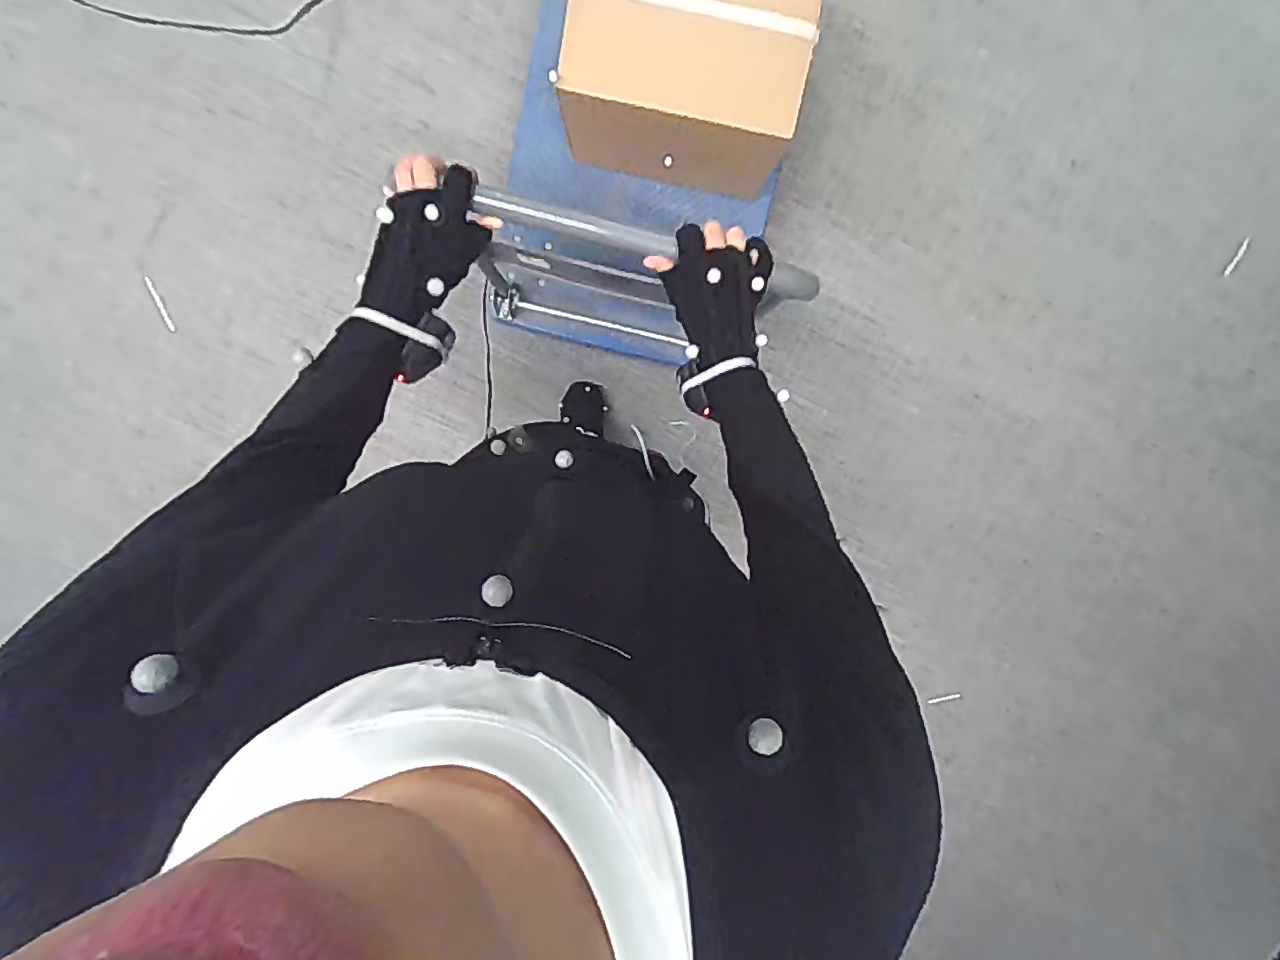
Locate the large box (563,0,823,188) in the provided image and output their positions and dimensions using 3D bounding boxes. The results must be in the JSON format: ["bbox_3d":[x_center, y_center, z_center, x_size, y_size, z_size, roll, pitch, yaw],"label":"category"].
[{"bbox_3d":[0.094,-0.790,1.017,0.408,0.320,0.320,10,99,-2],"label":"large box"}]
